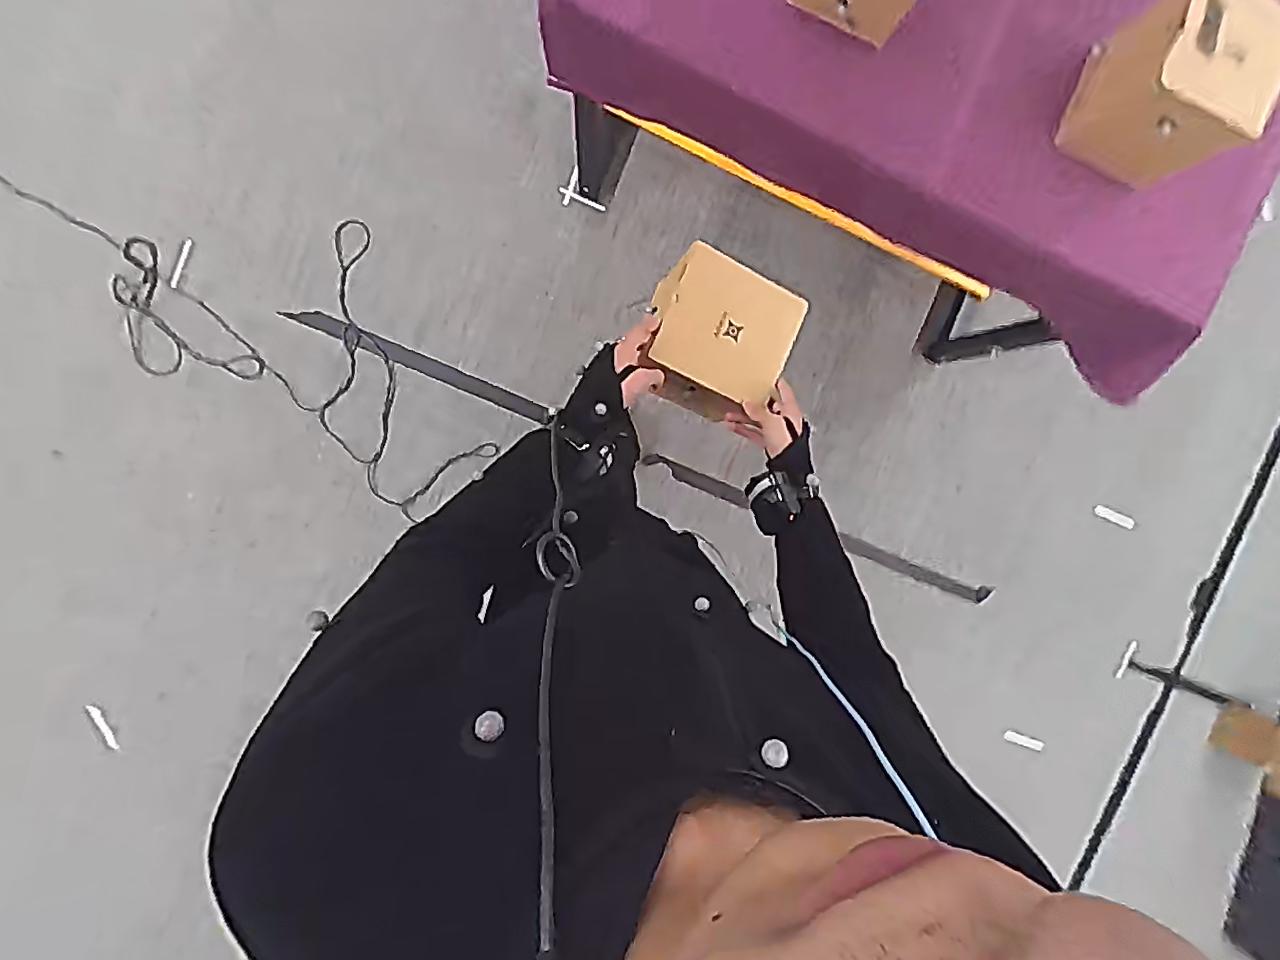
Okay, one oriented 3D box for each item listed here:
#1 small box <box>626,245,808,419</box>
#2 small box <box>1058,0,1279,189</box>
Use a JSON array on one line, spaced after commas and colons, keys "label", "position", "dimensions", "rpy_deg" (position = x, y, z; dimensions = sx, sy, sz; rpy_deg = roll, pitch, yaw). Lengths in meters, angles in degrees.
[{"label": "small box", "position": [0.099, -0.195, 0.776], "dimensions": [0.179, 0.176, 0.168], "rpy_deg": [24, 87, -11]}, {"label": "small box", "position": [0.789, -0.573, 0.809], "dimensions": [0.179, 0.176, 0.168], "rpy_deg": [22, 93, -7]}]
